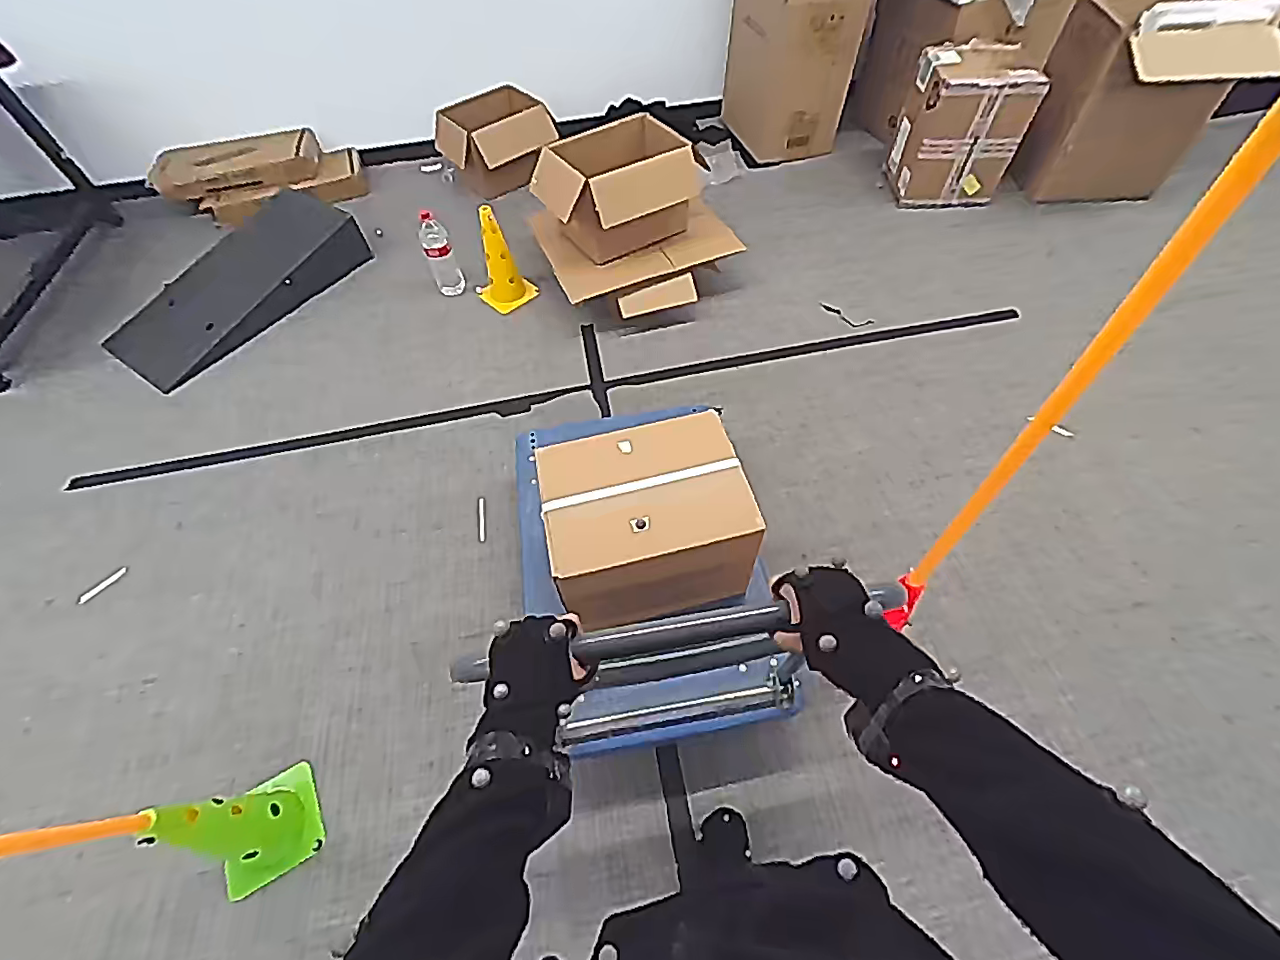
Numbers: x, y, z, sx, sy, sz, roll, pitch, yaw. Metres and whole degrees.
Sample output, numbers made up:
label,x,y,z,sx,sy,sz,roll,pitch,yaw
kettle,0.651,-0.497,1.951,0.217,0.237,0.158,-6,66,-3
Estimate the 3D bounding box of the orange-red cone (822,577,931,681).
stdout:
label,x,y,z,sx,sy,sz,roll,pitch,yaw
orange-red cone,0.567,0.305,1.218,0.199,0.360,0.198,-4,56,-1
